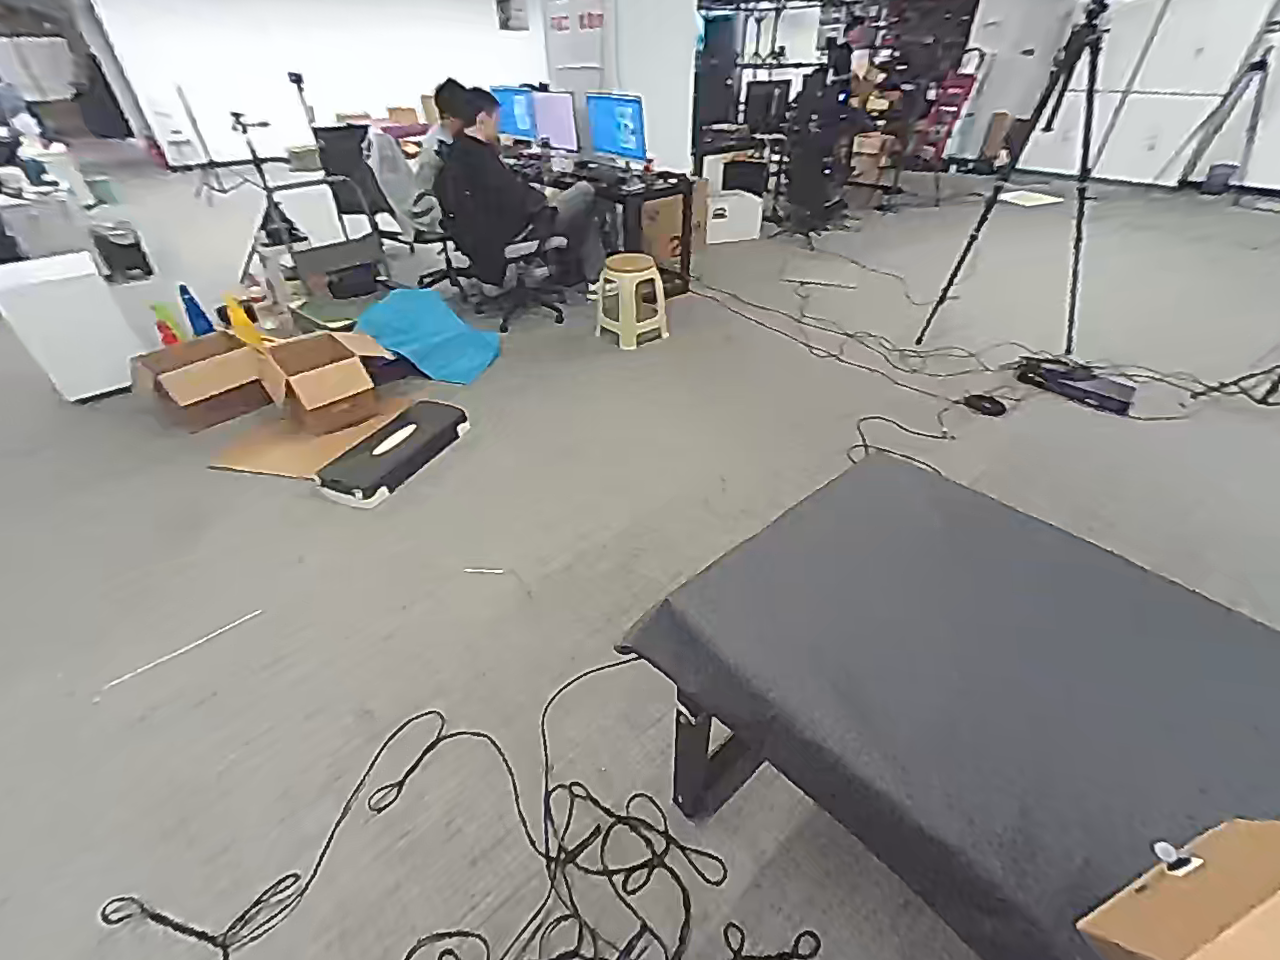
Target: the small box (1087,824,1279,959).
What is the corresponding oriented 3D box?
[{"bbox_3d":[0.474,0.365,0.369,0.168,0.176,0.179,-33,54,-4],"label":"small box"}]
